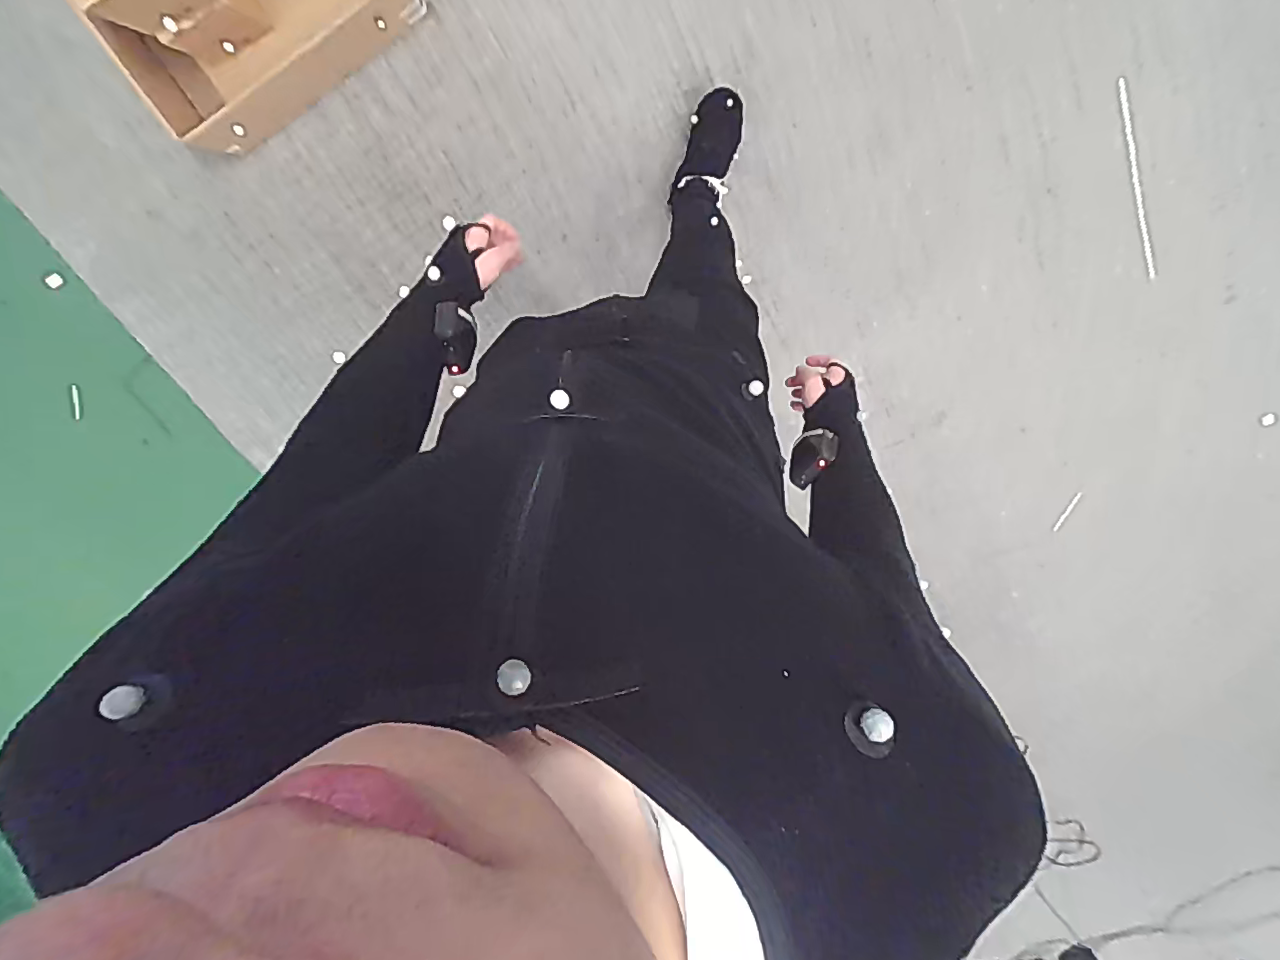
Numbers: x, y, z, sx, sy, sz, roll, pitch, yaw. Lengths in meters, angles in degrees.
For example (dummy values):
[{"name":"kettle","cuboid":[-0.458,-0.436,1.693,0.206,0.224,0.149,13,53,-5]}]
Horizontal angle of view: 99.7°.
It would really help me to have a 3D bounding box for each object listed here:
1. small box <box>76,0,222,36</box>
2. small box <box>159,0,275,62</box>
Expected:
[{"name":"small box","cuboid":[-0.910,-0.939,0.954,0.168,0.176,0.179,-18,115,8]},{"name":"small box","cuboid":[-0.908,-1.005,1.104,0.168,0.176,0.179,-22,115,9]}]
